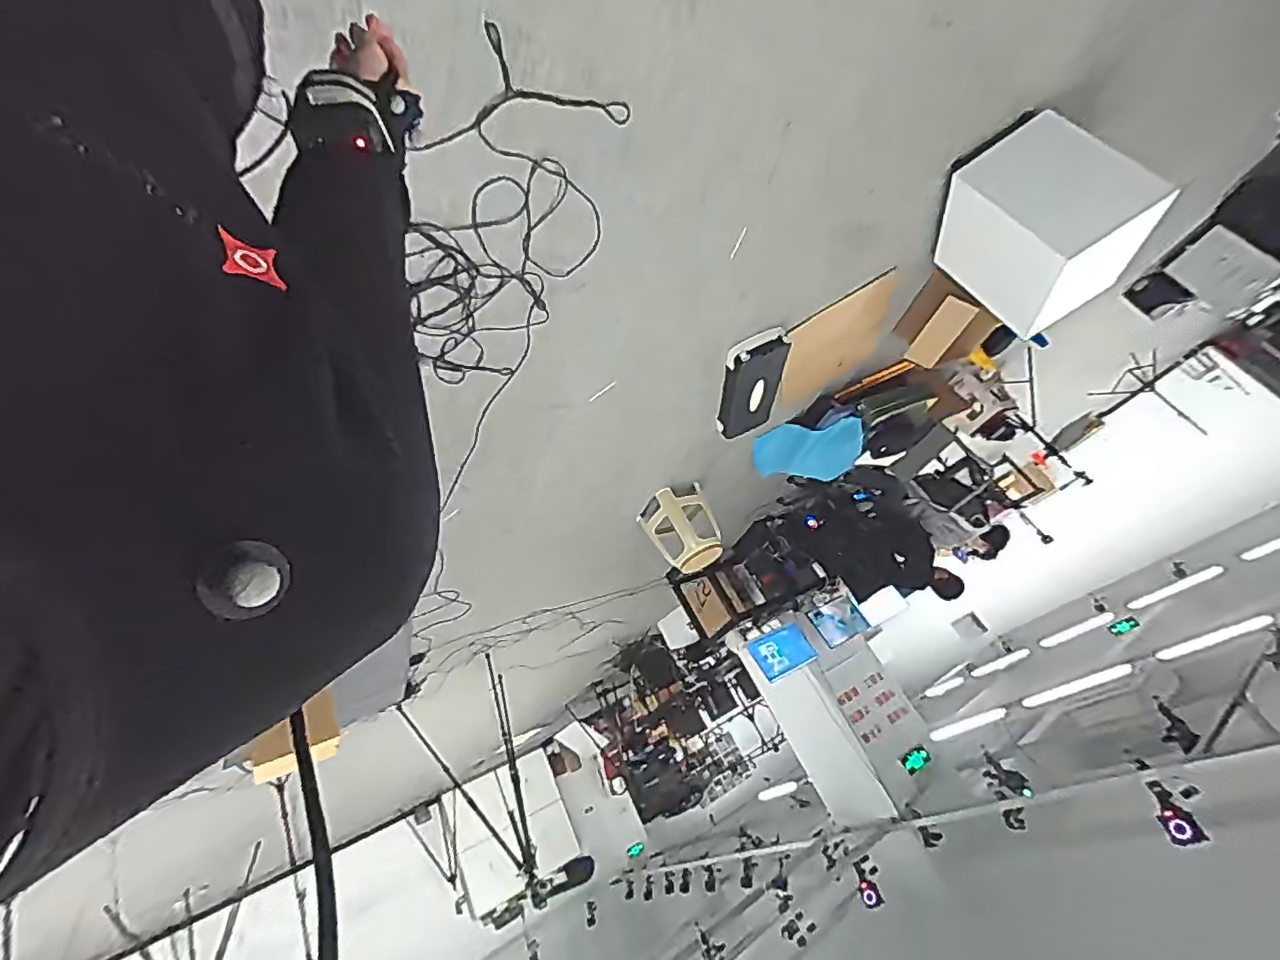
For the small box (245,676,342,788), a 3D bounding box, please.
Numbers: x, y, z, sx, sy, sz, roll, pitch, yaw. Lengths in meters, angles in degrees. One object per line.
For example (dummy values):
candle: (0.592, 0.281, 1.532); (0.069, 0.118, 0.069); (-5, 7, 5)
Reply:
small box: (-0.848, 0.609, 1.320); (0.179, 0.176, 0.168); (-10, 147, -39)
